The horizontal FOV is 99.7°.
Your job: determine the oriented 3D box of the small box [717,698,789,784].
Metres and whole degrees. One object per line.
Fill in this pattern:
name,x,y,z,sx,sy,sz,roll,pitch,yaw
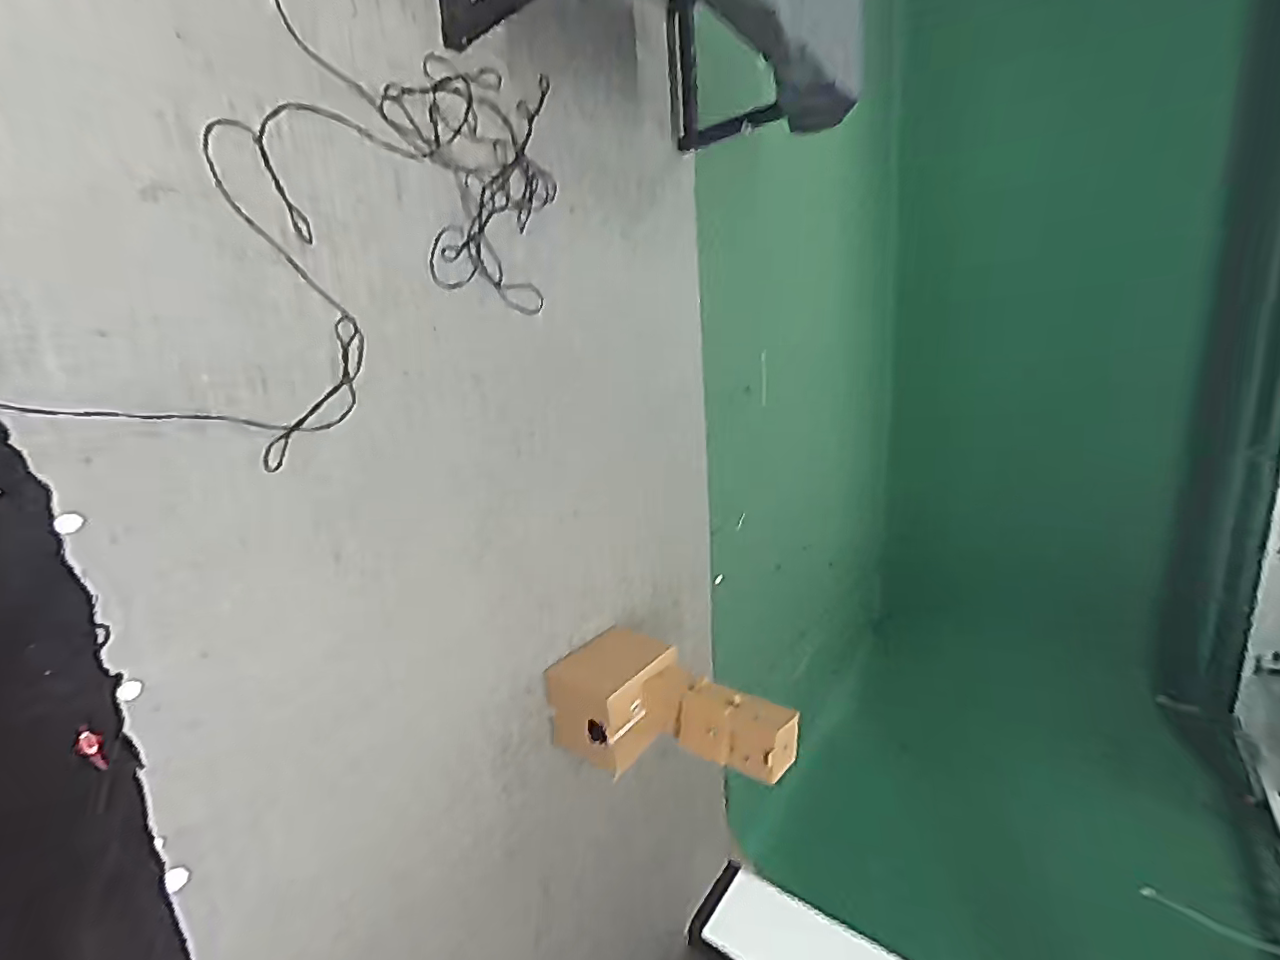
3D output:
small box,0.361,0.826,1.729,0.179,0.176,0.168,-3,98,-53

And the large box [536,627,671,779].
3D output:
large box,-0.125,0.808,2.032,0.408,0.320,0.320,-20,109,-48

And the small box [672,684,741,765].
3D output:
small box,0.223,0.814,1.817,0.168,0.176,0.179,2,93,-52
